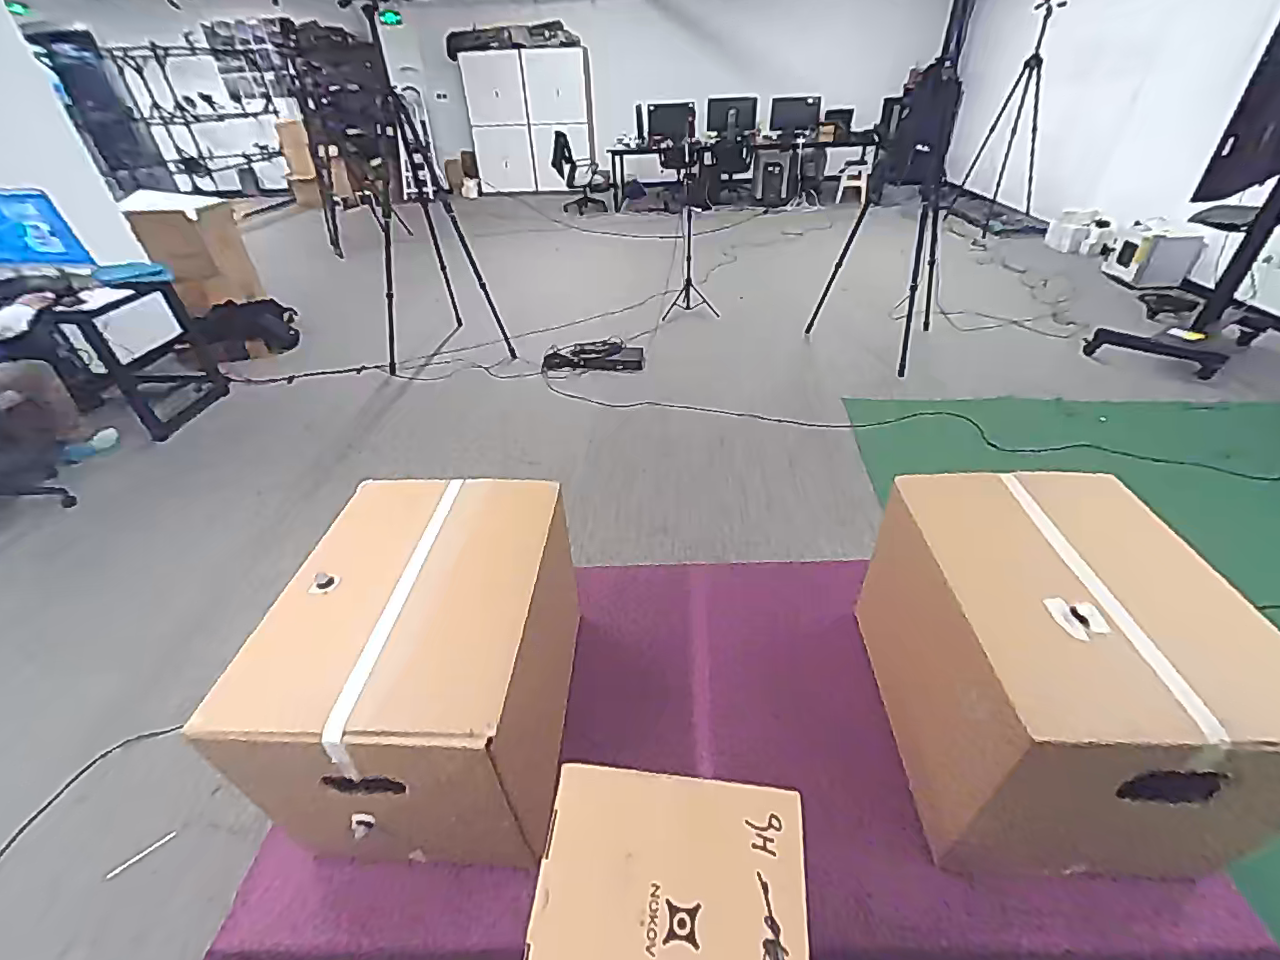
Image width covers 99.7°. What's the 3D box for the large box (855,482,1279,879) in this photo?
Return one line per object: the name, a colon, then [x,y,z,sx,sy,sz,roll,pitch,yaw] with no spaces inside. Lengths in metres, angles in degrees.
large box: [0.528,0.246,0.734,0.320,0.320,0.408,1,38,4]
